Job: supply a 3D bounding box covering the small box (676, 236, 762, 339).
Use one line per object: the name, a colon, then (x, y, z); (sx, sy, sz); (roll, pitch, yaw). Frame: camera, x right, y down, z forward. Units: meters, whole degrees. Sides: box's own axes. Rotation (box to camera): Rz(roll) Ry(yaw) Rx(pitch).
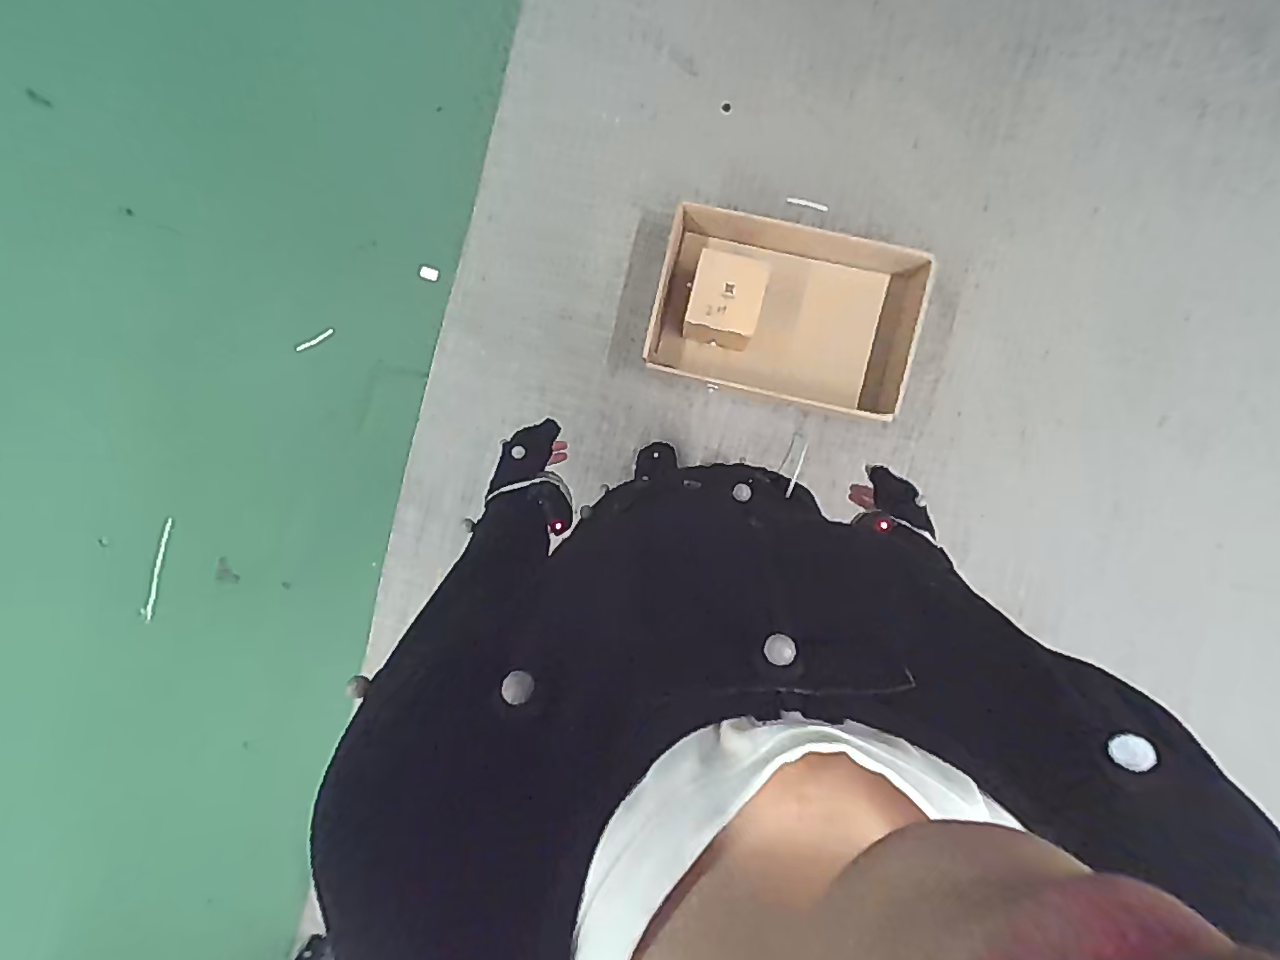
small box: (0.182, -0.458, 1.309); (0.168, 0.176, 0.179); (12, 93, 2)
